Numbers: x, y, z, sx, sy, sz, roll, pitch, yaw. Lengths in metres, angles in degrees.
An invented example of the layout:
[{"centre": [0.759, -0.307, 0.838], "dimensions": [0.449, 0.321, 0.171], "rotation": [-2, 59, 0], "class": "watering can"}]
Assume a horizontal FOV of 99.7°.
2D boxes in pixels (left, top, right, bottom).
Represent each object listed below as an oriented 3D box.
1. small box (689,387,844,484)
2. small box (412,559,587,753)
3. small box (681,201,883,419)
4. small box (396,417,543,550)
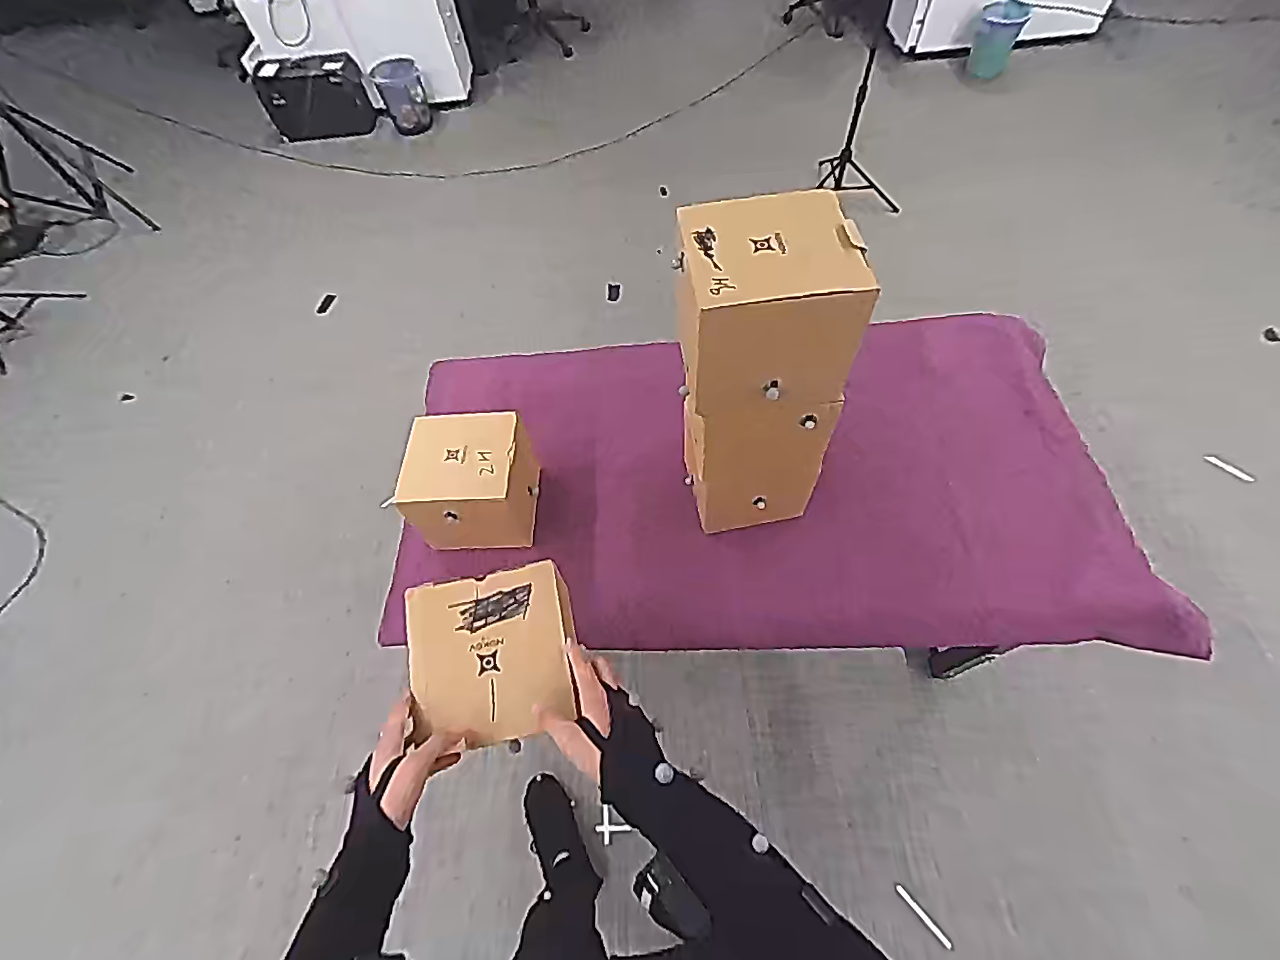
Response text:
[{"centre": [0.163, -0.106, 0.762], "dimensions": [0.179, 0.176, 0.168], "rotation": [-6, 59, 1], "class": "small box"}, {"centre": [-0.160, 0.211, 0.648], "dimensions": [0.168, 0.176, 0.179], "rotation": [-10, 69, -6], "class": "small box"}, {"centre": [0.143, -0.188, 0.621], "dimensions": [0.179, 0.176, 0.168], "rotation": [-6, 58, 0], "class": "small box"}, {"centre": [-0.274, 0.010, 0.912], "dimensions": [0.179, 0.176, 0.168], "rotation": [-1, 58, 2], "class": "small box"}]
